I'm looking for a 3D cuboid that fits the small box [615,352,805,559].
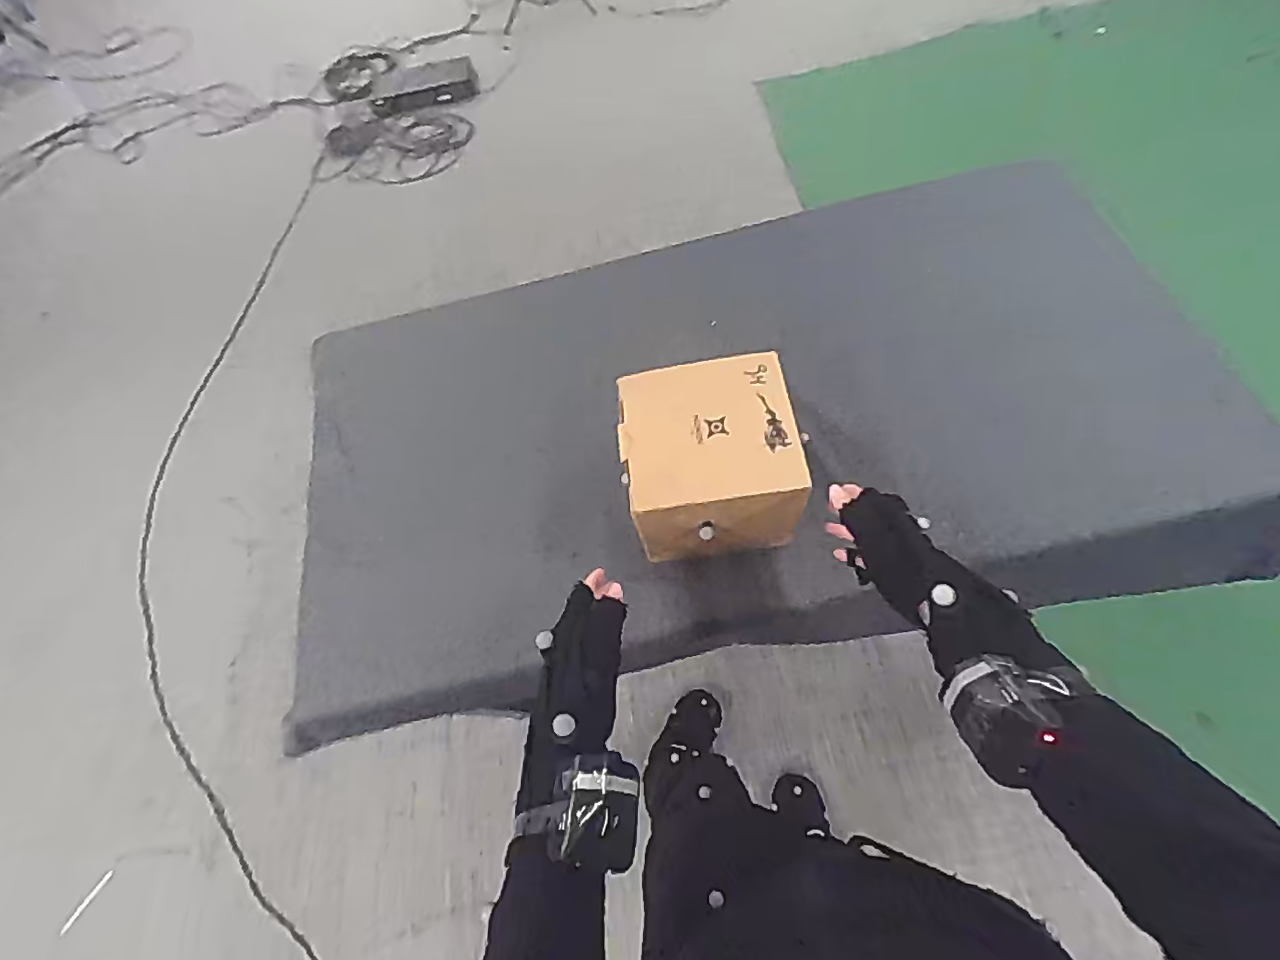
[{"bbox_3d":[0.078,-0.018,0.635,0.179,0.176,0.168,-11,61,3],"label":"small box"}]
